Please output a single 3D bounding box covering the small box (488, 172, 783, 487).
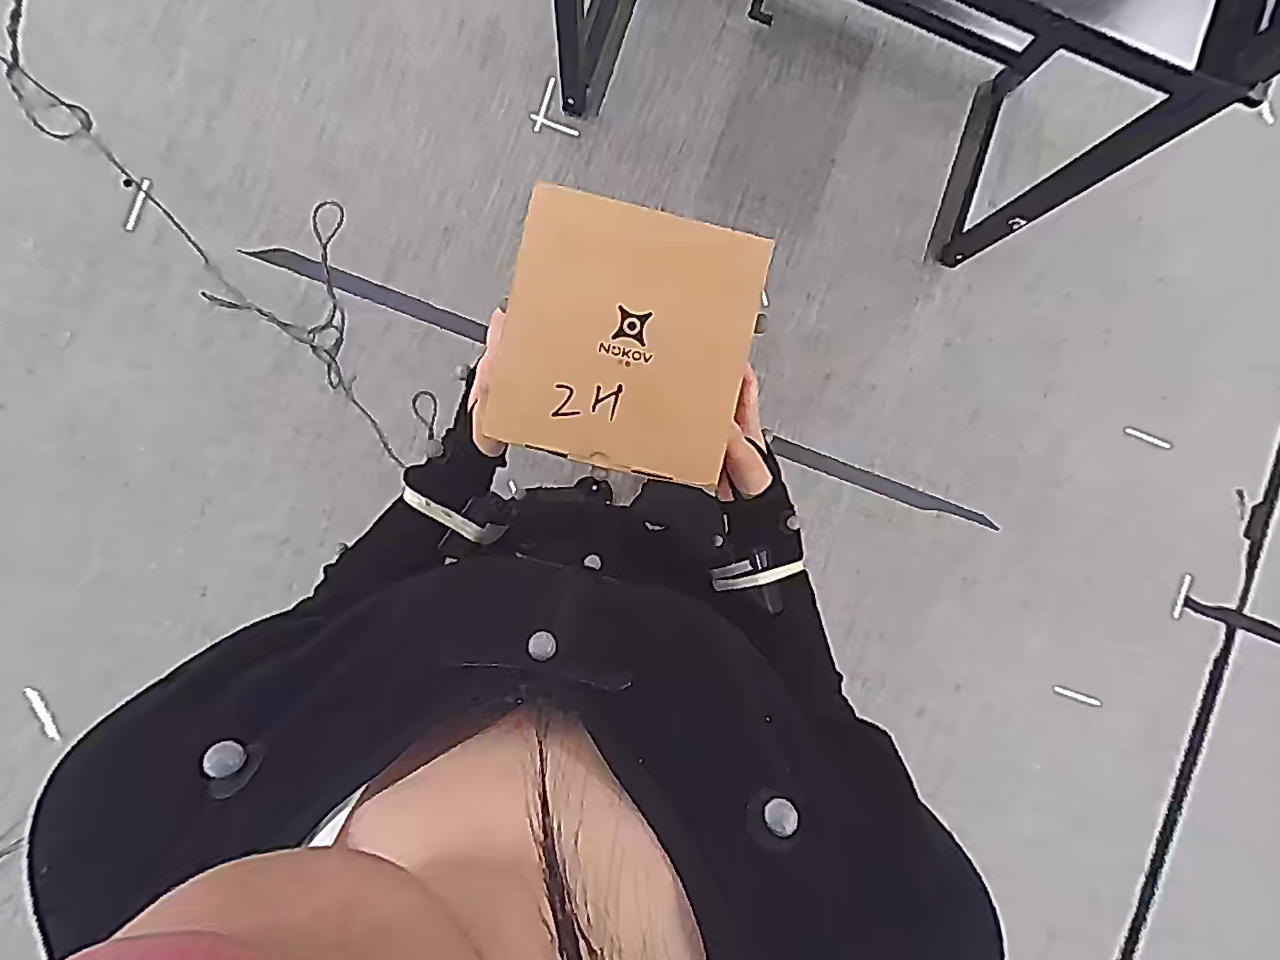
[{"bbox_3d":[-0.006,-0.101,0.436,0.168,0.176,0.179,13,93,-3],"label":"small box"}]
